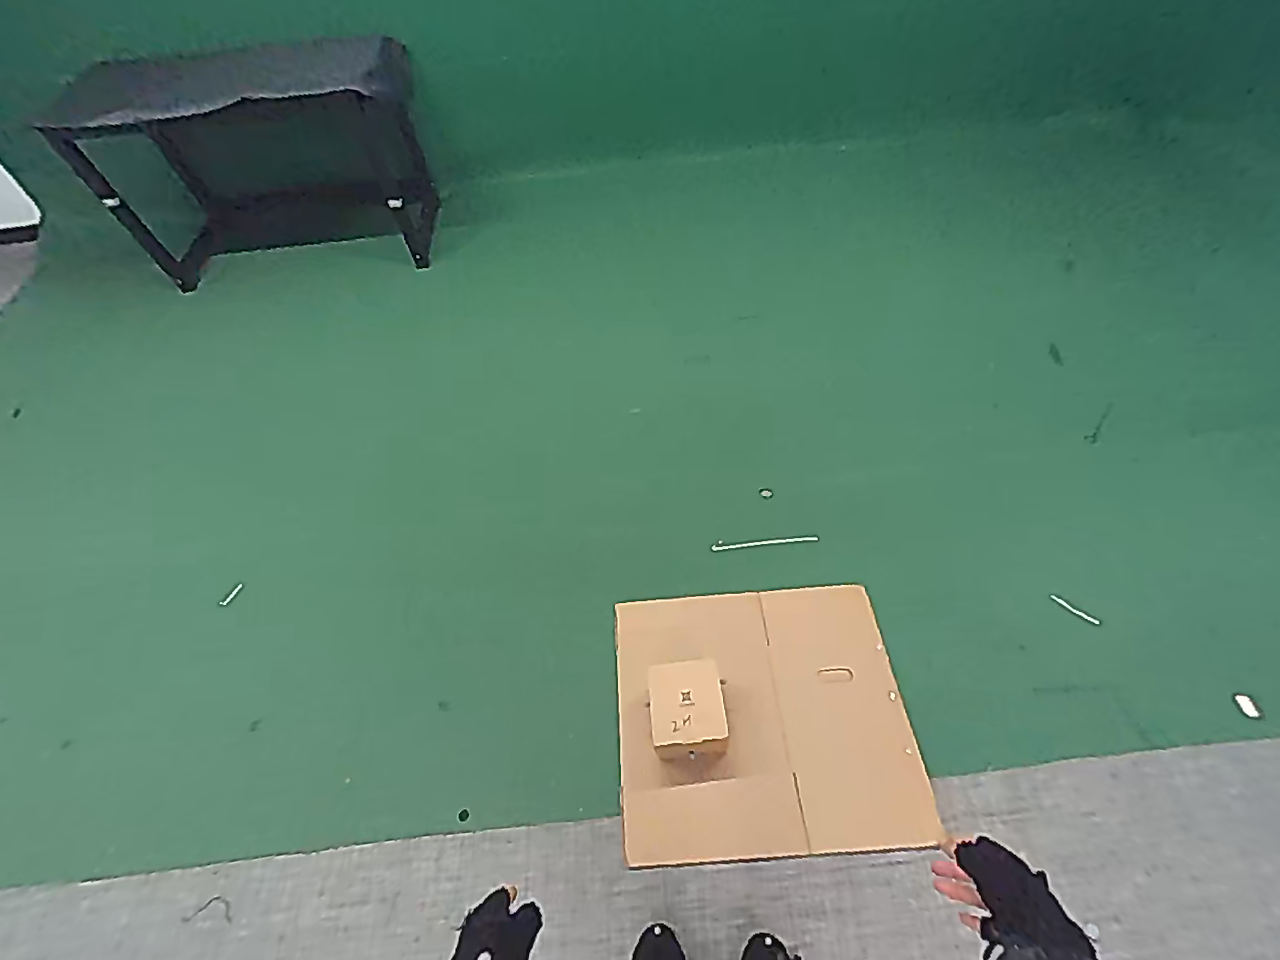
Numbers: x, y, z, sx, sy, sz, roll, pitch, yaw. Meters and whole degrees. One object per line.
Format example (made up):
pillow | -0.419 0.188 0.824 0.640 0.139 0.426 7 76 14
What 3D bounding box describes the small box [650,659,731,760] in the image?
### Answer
small box | 0.114 0.540 1.266 0.168 0.176 0.179 -7 54 2
